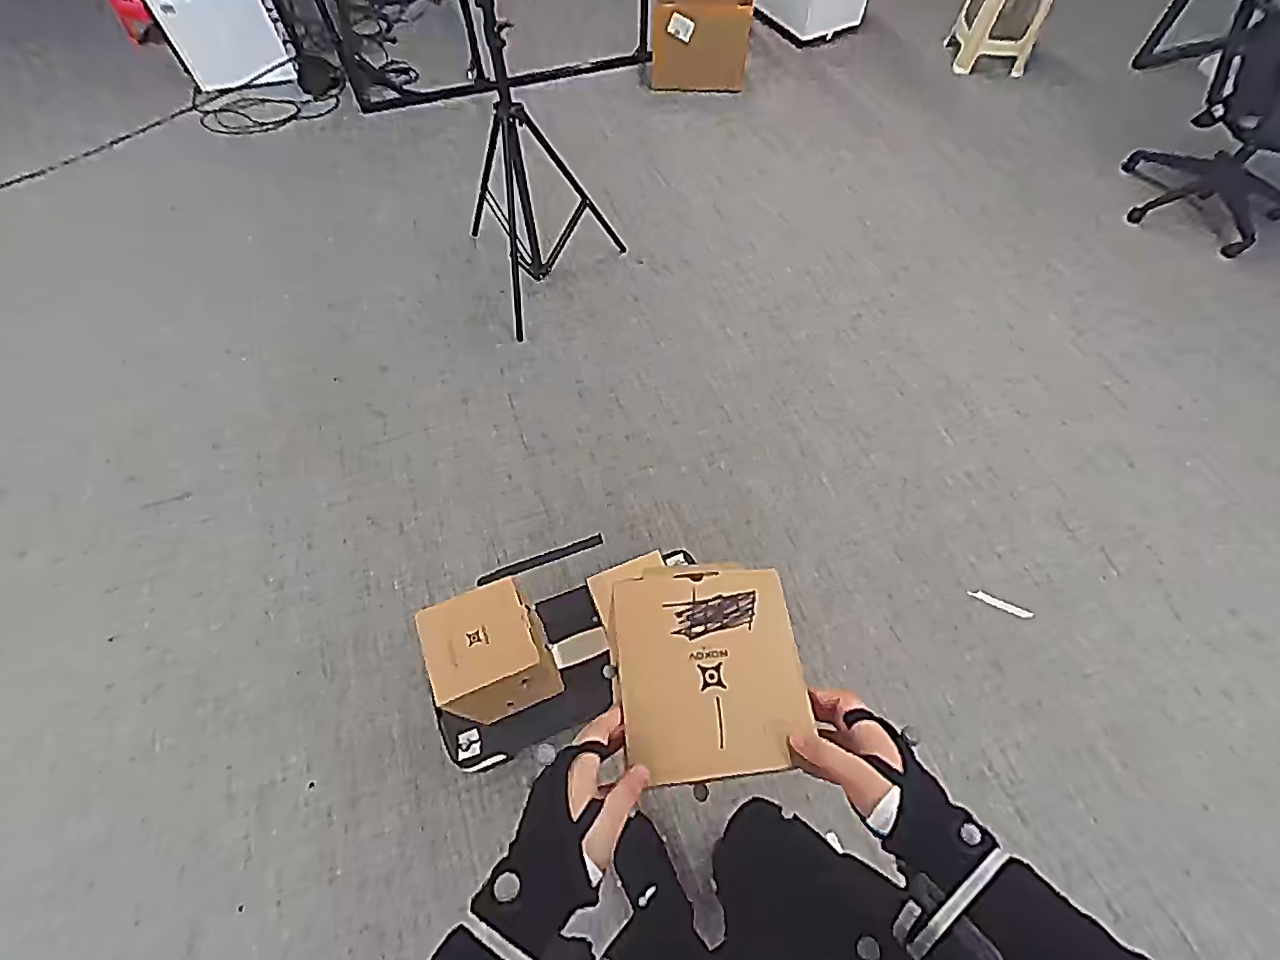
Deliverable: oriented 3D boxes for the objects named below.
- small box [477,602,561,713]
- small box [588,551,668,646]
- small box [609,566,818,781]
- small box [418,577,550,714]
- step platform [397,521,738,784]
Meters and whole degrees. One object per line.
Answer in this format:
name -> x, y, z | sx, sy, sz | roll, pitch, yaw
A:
small box -> -0.273, 0.381, 1.125 | 0.179, 0.176, 0.168 | -21, 64, -11
small box -> -0.004, 0.285, 1.176 | 0.168, 0.176, 0.179 | -21, 64, -10
small box -> 0.057, 0.204, 0.561 | 0.168, 0.176, 0.179 | -3, 61, -7
small box -> -0.272, 0.304, 0.980 | 0.179, 0.176, 0.168 | -22, 63, -12
step platform -> -0.112, 0.341, 1.106 | 0.684, 0.204, 0.286 | -19, 63, -11
